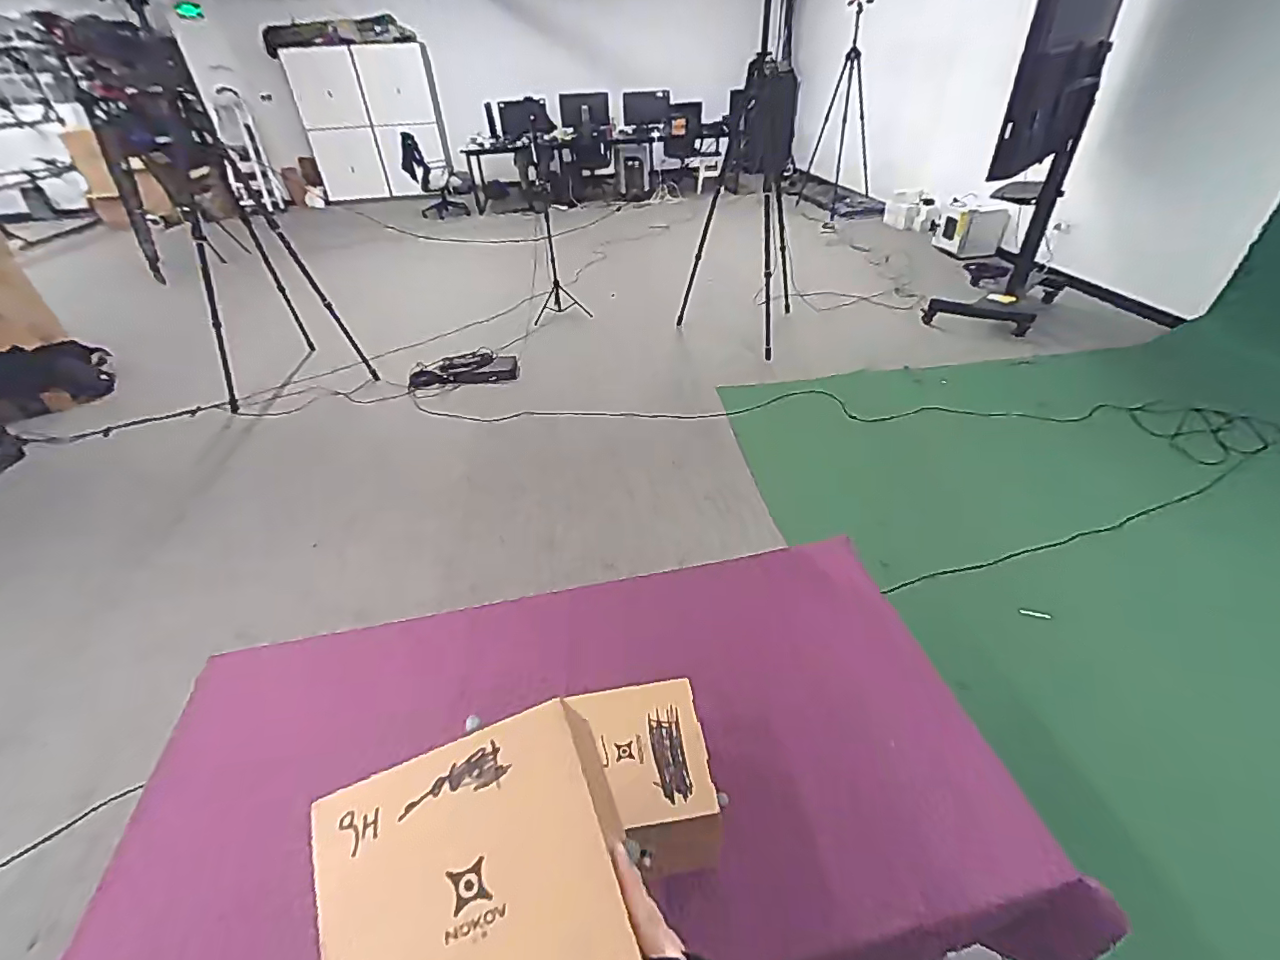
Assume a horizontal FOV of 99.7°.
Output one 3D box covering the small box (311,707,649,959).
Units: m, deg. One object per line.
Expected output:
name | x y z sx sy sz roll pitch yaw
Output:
small box | -0.097 0.284 0.382 0.168 0.176 0.179 -20 63 -10
